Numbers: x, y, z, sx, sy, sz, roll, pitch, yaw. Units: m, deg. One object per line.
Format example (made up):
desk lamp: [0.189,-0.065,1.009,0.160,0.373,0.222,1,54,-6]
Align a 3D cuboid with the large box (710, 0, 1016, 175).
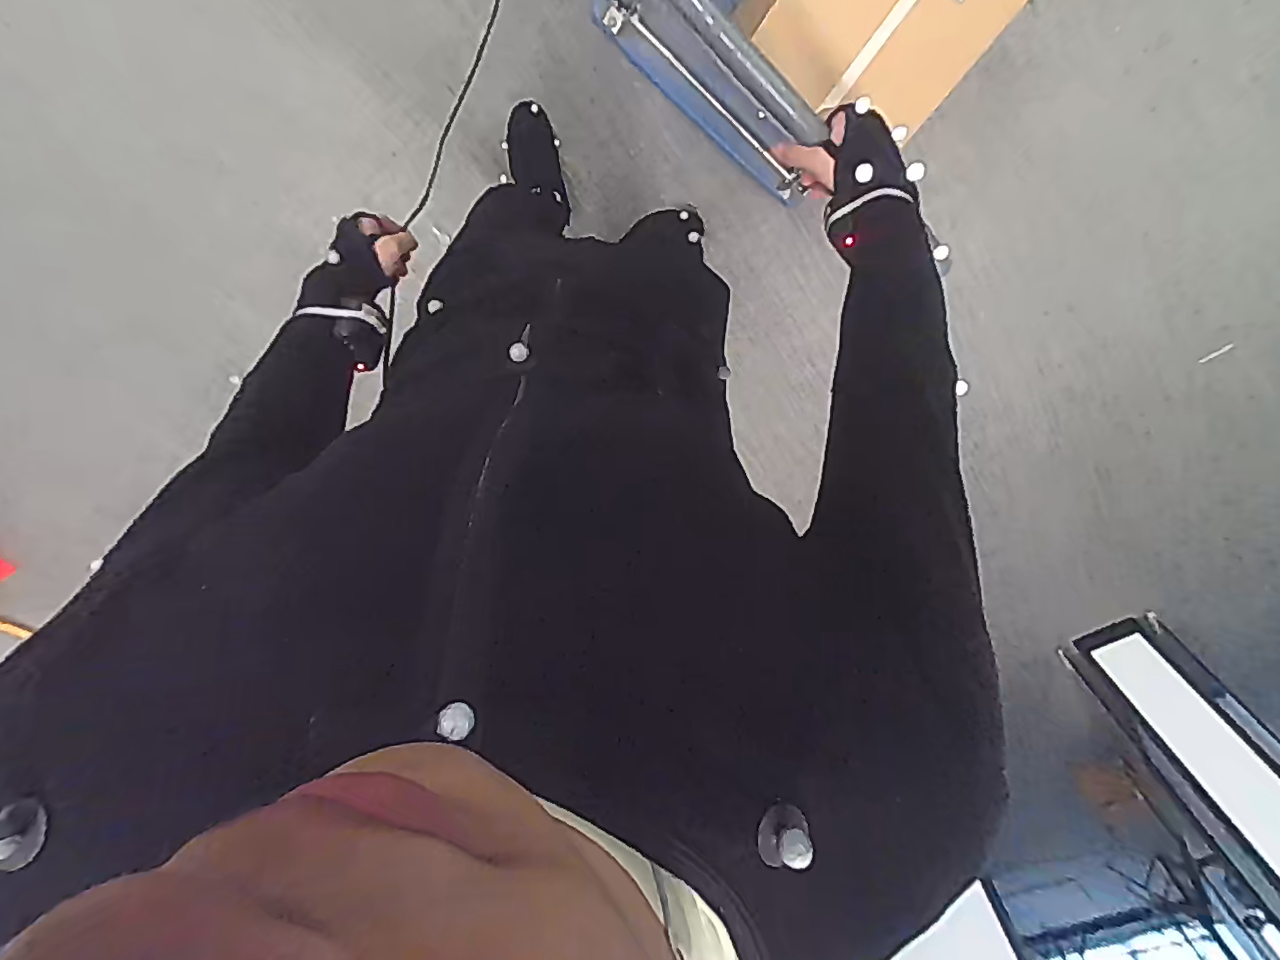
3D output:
large box: [0.377,-0.813,0.908,0.320,0.320,0.408,28,120,-25]
